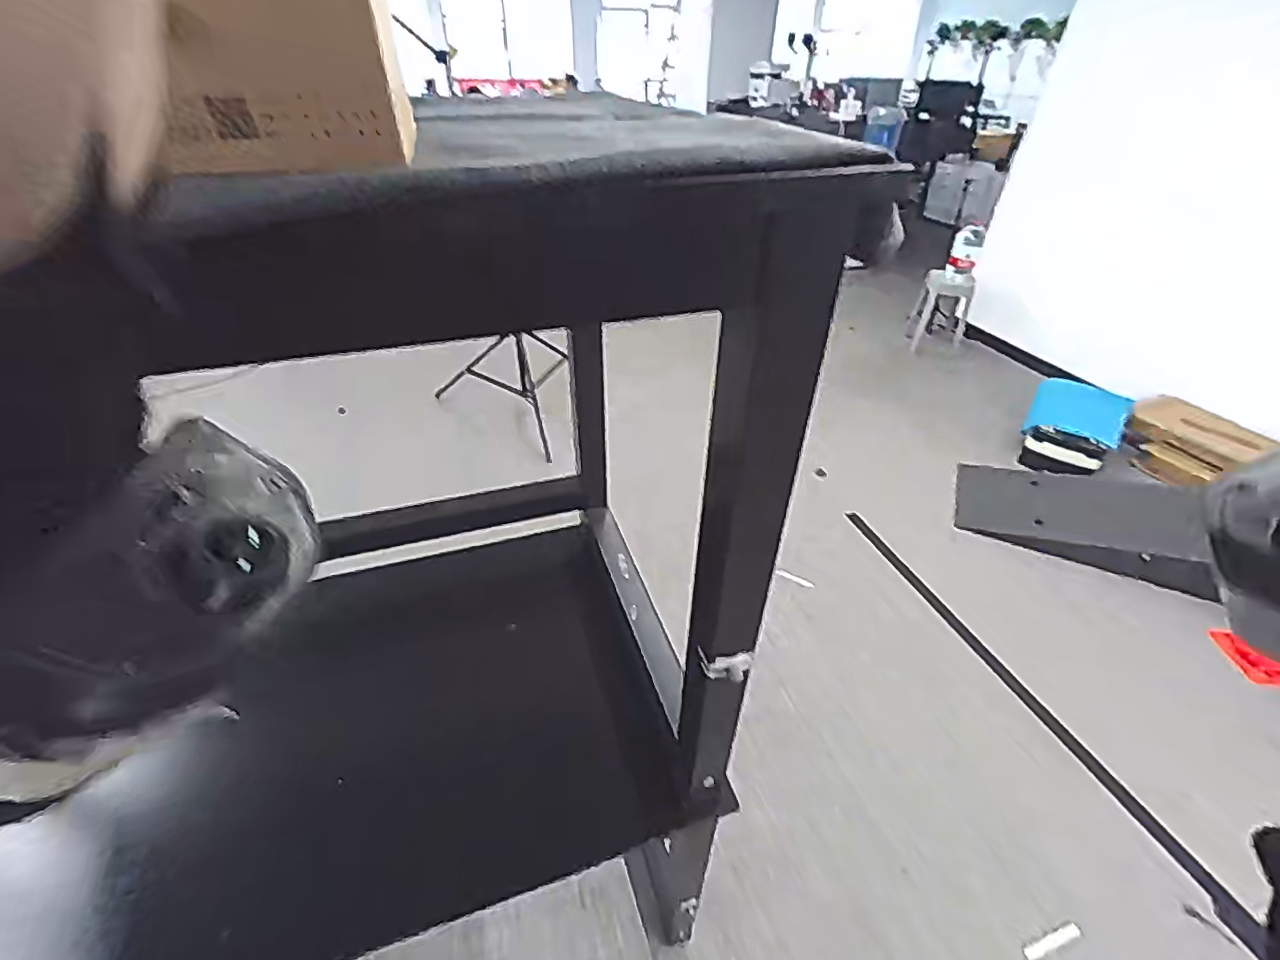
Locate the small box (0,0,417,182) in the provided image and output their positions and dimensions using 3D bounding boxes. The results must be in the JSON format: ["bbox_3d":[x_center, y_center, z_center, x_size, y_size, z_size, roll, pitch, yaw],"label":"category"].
[{"bbox_3d":[-0.204,-0.235,0.234,0.168,0.176,0.179,-11,39,-14],"label":"small box"}]
